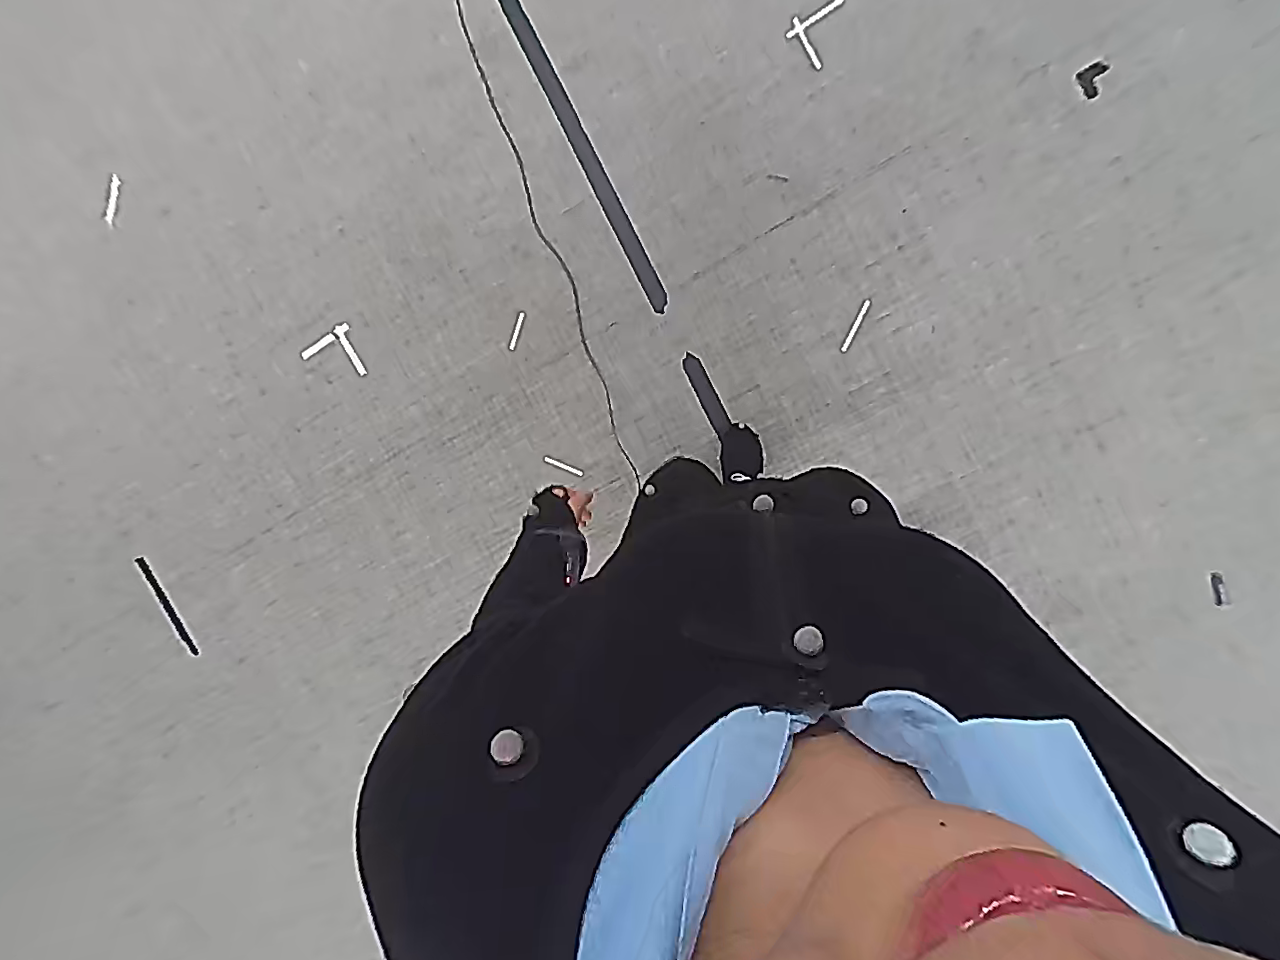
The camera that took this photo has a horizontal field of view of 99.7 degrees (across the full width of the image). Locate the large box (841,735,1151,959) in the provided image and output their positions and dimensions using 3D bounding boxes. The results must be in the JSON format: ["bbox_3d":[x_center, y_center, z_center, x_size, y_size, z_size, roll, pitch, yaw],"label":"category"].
[{"bbox_3d":[0.709,0.820,1.148,0.408,0.320,0.320,-24,93,9],"label":"large box"}]
